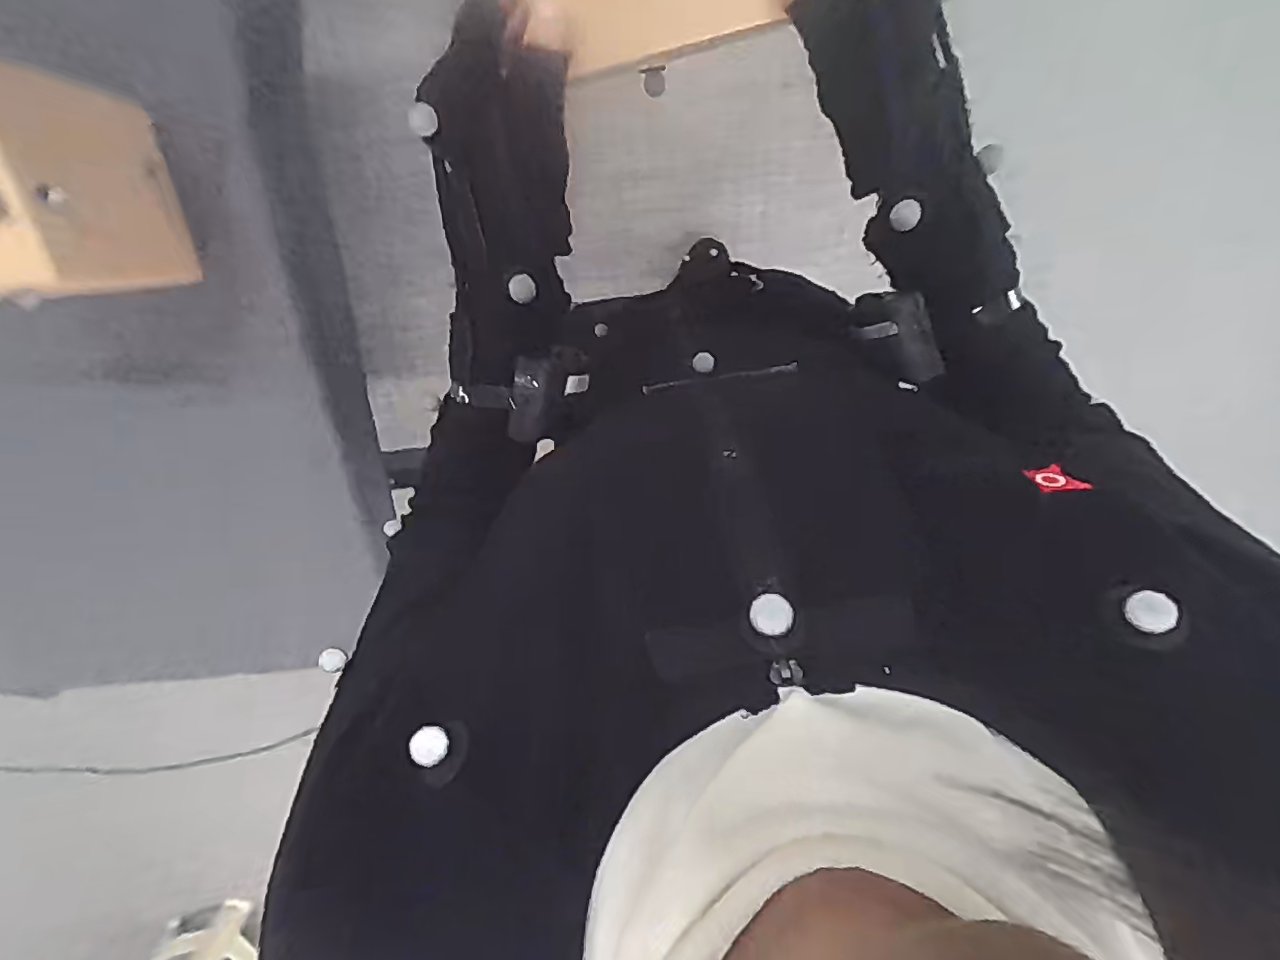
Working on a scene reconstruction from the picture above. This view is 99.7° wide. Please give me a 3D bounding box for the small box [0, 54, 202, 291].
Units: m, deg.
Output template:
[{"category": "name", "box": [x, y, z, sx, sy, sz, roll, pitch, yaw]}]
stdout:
[{"category": "small box", "box": [-0.573, -0.267, 0.500, 0.179, 0.176, 0.168, -5, 112, 3]}]
